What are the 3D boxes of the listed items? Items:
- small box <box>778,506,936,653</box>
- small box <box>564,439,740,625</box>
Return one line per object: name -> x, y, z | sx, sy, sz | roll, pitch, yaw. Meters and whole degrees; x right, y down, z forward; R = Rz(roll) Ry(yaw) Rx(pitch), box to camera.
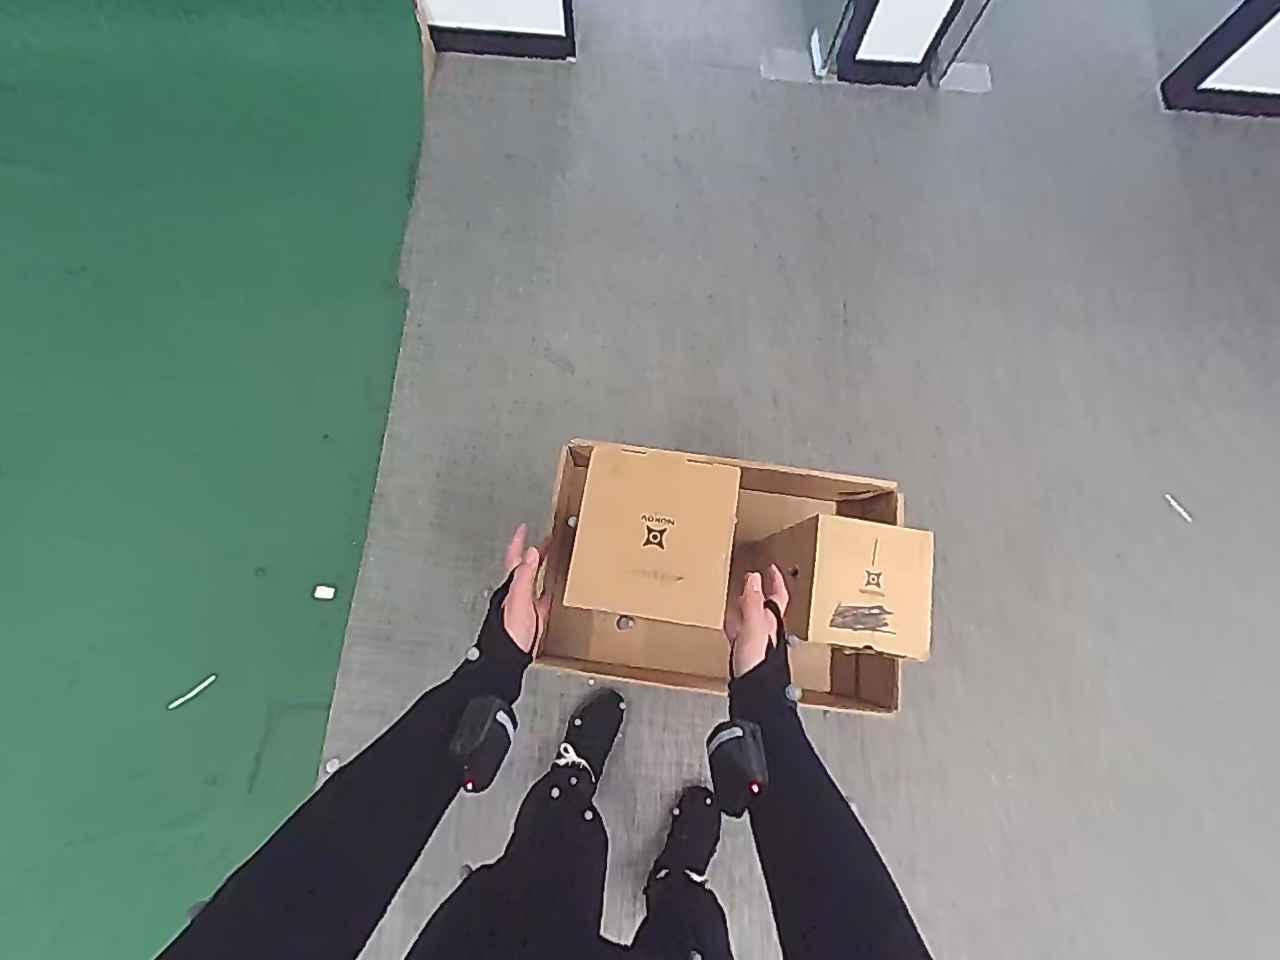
small box -> 0.310, 0.148, 0.801 | 0.168, 0.176, 0.179 | 9, 77, 0
small box -> 0.013, 0.069, 0.642 | 0.168, 0.176, 0.179 | 9, 76, 1
